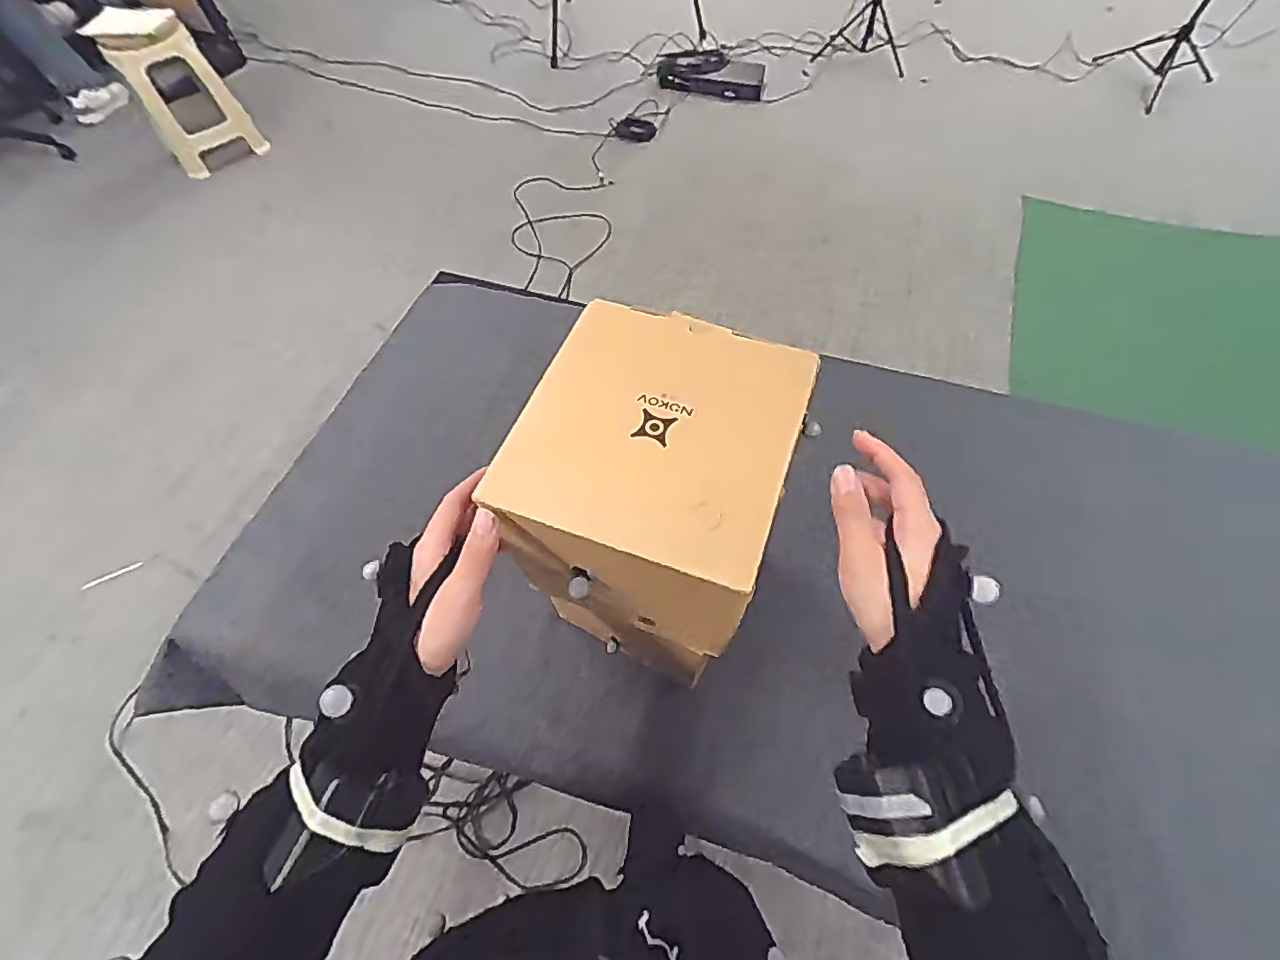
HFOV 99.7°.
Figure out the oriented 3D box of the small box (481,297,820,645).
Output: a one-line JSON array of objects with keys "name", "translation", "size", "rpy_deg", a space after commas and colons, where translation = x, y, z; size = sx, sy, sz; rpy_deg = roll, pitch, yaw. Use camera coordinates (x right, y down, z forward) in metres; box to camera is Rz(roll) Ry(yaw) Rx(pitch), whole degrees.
[{"name": "small box", "translation": [0.016, 0.002, 0.401], "size": [0.168, 0.176, 0.179], "rpy_deg": [18, 62, 11]}]
